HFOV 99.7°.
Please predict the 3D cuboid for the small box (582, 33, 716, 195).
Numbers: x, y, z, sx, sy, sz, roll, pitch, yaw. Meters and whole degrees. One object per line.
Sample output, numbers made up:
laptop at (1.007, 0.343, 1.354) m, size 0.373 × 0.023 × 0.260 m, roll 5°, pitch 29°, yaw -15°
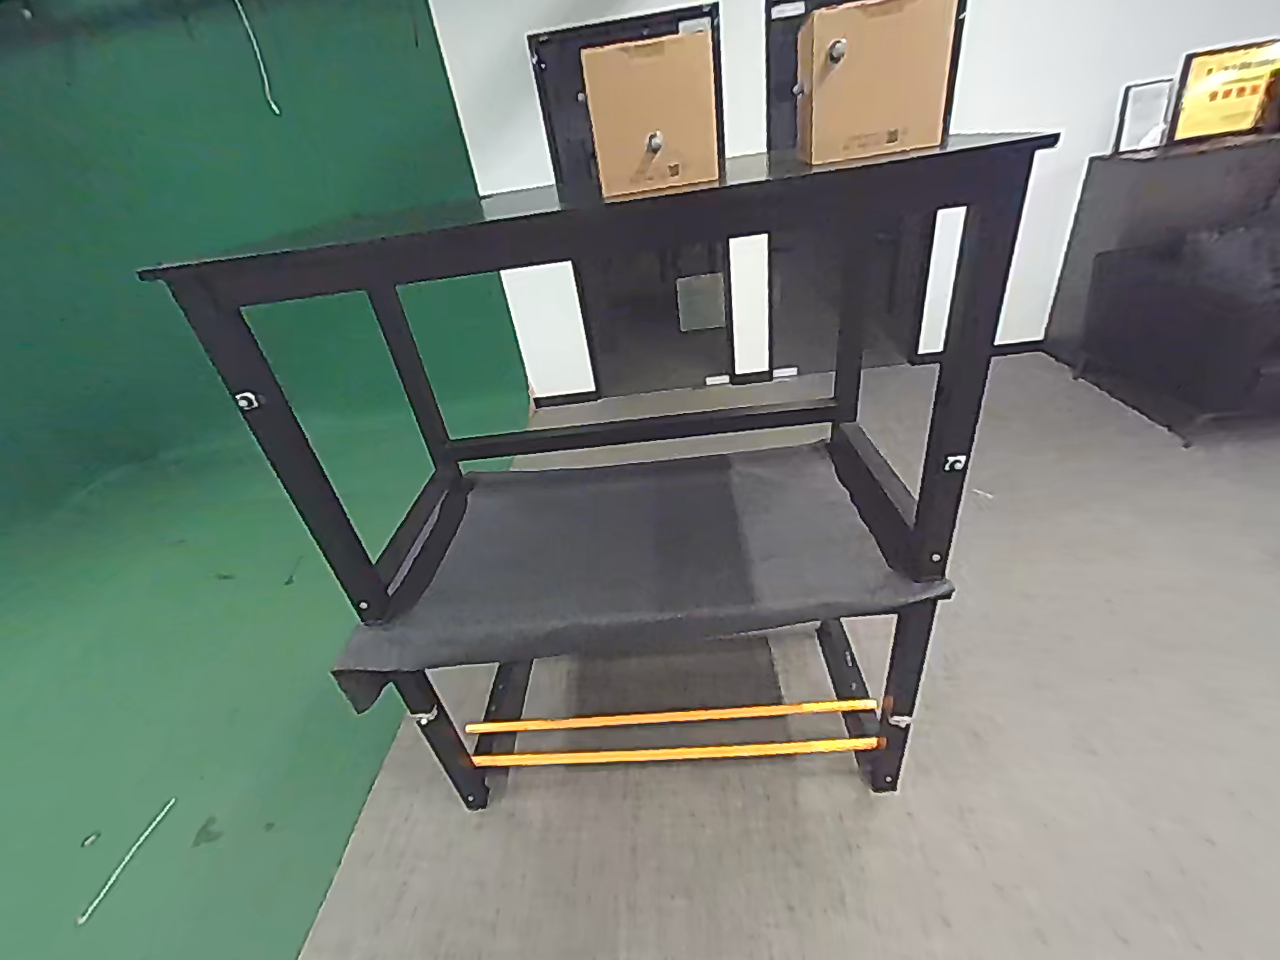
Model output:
small box at (0.014, -0.526, 0.797) m, size 0.168 × 0.176 × 0.179 m, roll -9°, pitch 32°, yaw 2°
